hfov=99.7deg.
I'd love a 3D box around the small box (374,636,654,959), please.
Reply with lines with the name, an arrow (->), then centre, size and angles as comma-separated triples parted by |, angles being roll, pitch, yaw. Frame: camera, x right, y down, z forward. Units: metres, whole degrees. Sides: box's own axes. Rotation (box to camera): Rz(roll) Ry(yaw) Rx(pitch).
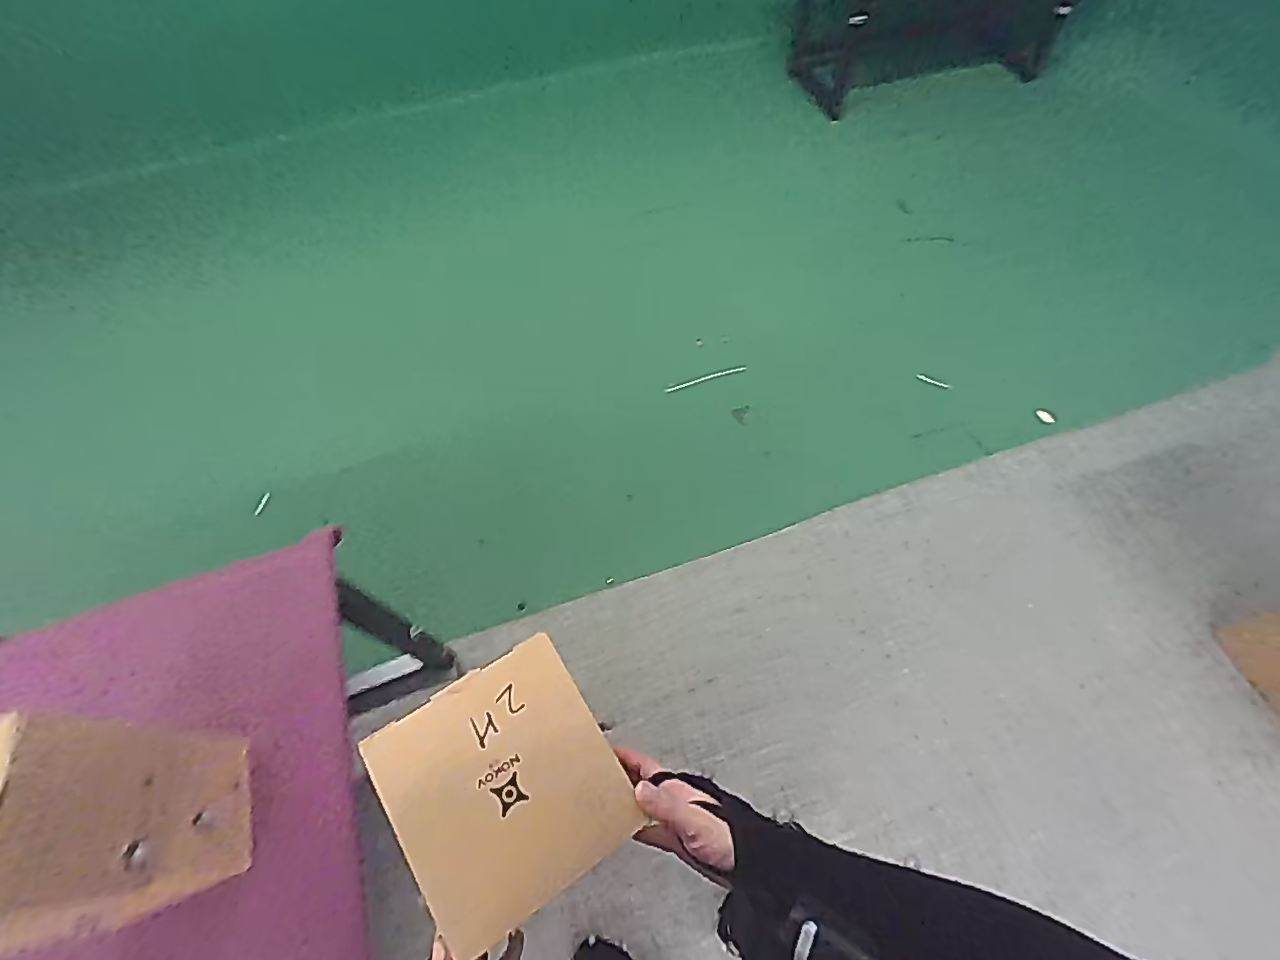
small box -> -0.108, 0.267, 0.499 | 0.168, 0.176, 0.179 | -27, 74, -17

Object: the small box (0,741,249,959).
small box -> -0.623, 0.444, 0.671 | 0.179, 0.176, 0.168 | -21, 61, -7
